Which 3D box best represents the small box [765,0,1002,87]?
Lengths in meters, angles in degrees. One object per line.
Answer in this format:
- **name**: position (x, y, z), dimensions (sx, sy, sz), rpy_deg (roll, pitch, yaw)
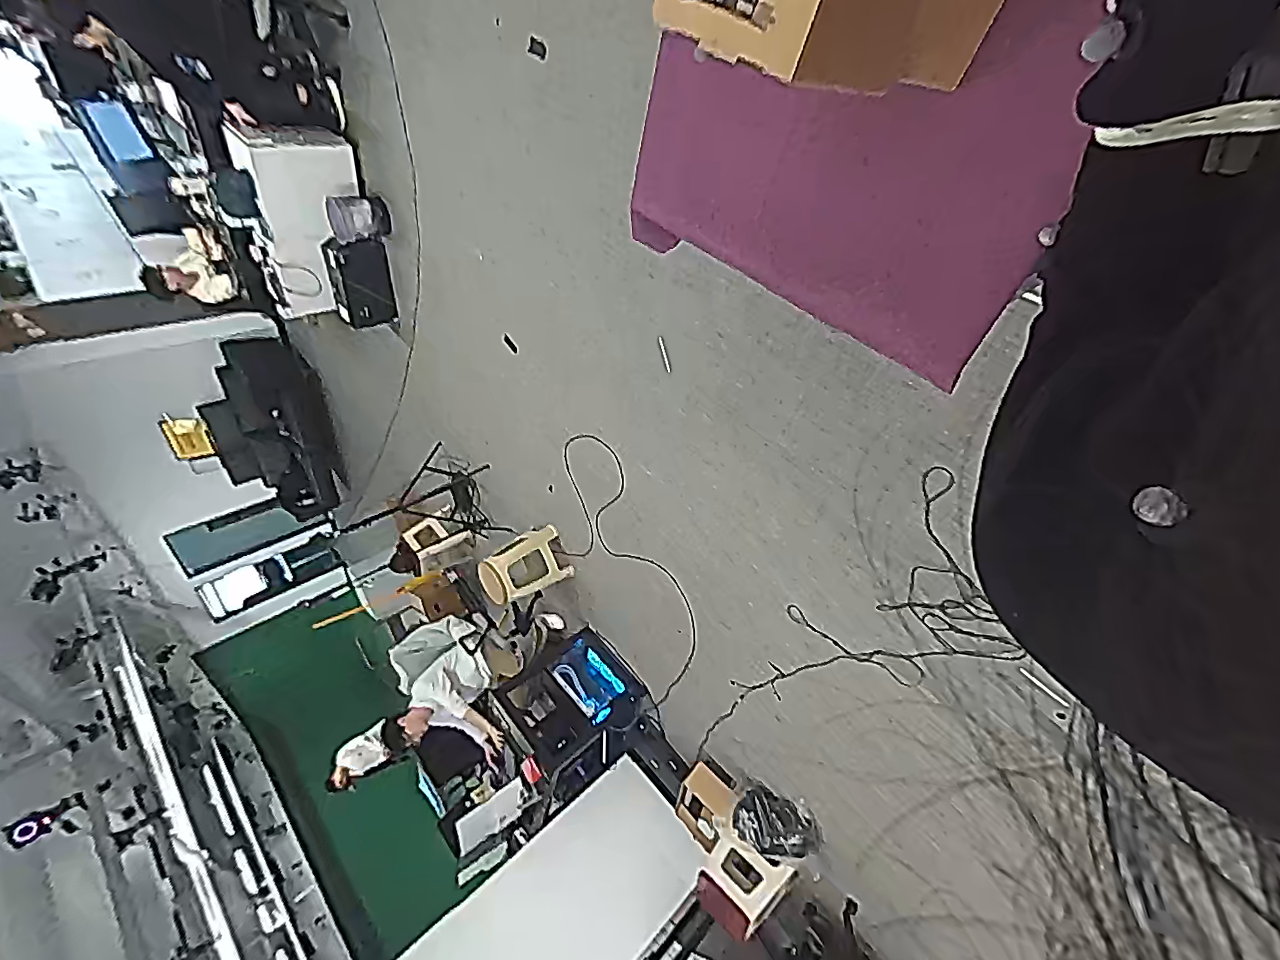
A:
- **small box**: position (0.262, -0.517, 0.529), dimensions (0.168, 0.176, 0.179), rpy_deg (45, 140, 23)
